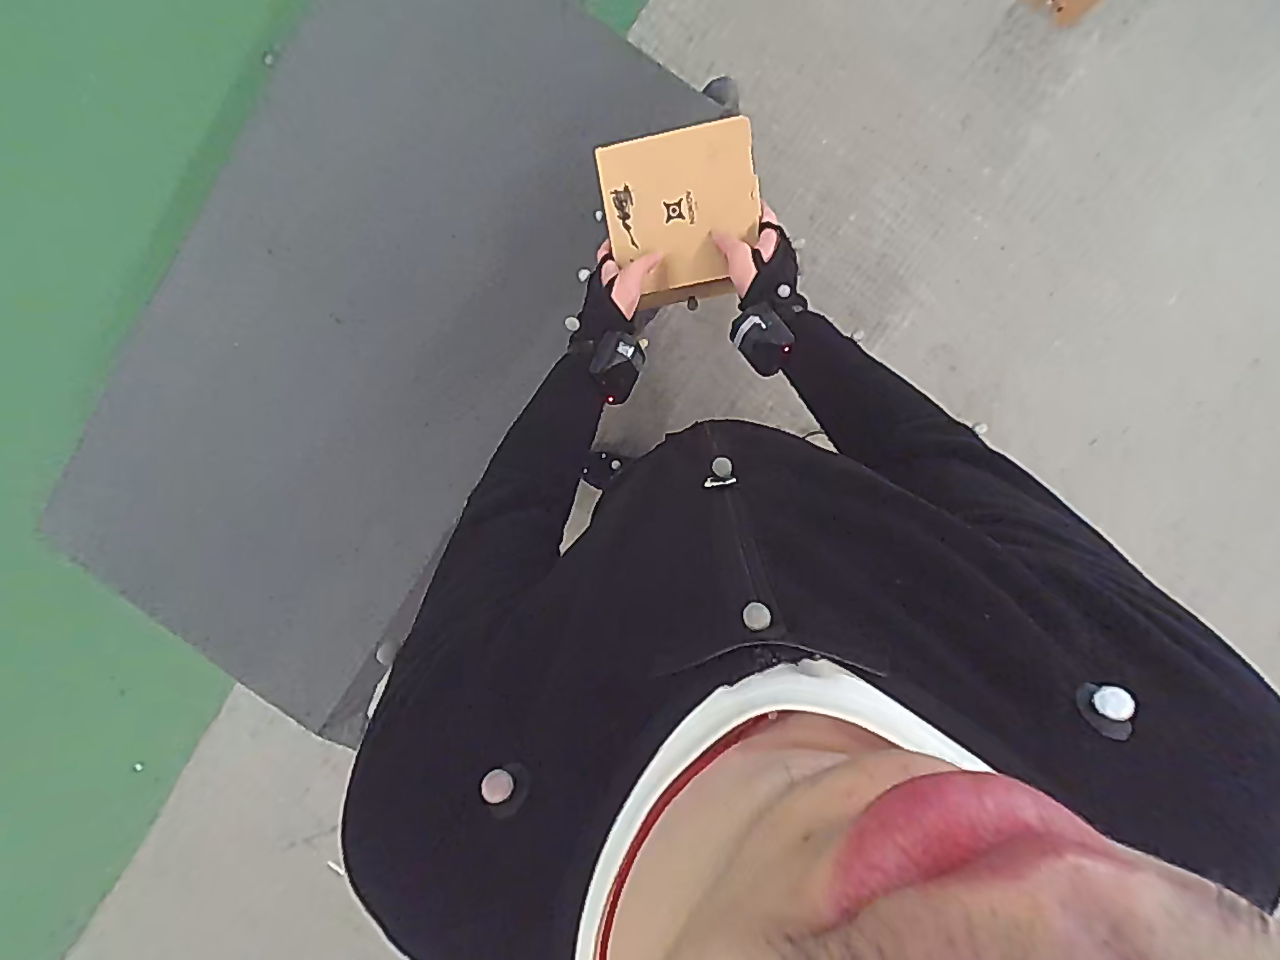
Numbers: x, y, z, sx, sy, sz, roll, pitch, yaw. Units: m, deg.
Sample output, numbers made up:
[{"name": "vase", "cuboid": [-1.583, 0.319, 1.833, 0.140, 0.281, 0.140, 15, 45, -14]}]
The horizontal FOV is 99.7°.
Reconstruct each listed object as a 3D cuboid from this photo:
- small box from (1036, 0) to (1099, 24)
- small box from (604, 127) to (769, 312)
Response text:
[{"name": "small box", "cuboid": [1.069, -1.247, 1.269, 0.168, 0.176, 0.179, 37, 98, 2]}, {"name": "small box", "cuboid": [0.059, -0.319, 0.698, 0.179, 0.176, 0.168, -8, 101, 6]}]
